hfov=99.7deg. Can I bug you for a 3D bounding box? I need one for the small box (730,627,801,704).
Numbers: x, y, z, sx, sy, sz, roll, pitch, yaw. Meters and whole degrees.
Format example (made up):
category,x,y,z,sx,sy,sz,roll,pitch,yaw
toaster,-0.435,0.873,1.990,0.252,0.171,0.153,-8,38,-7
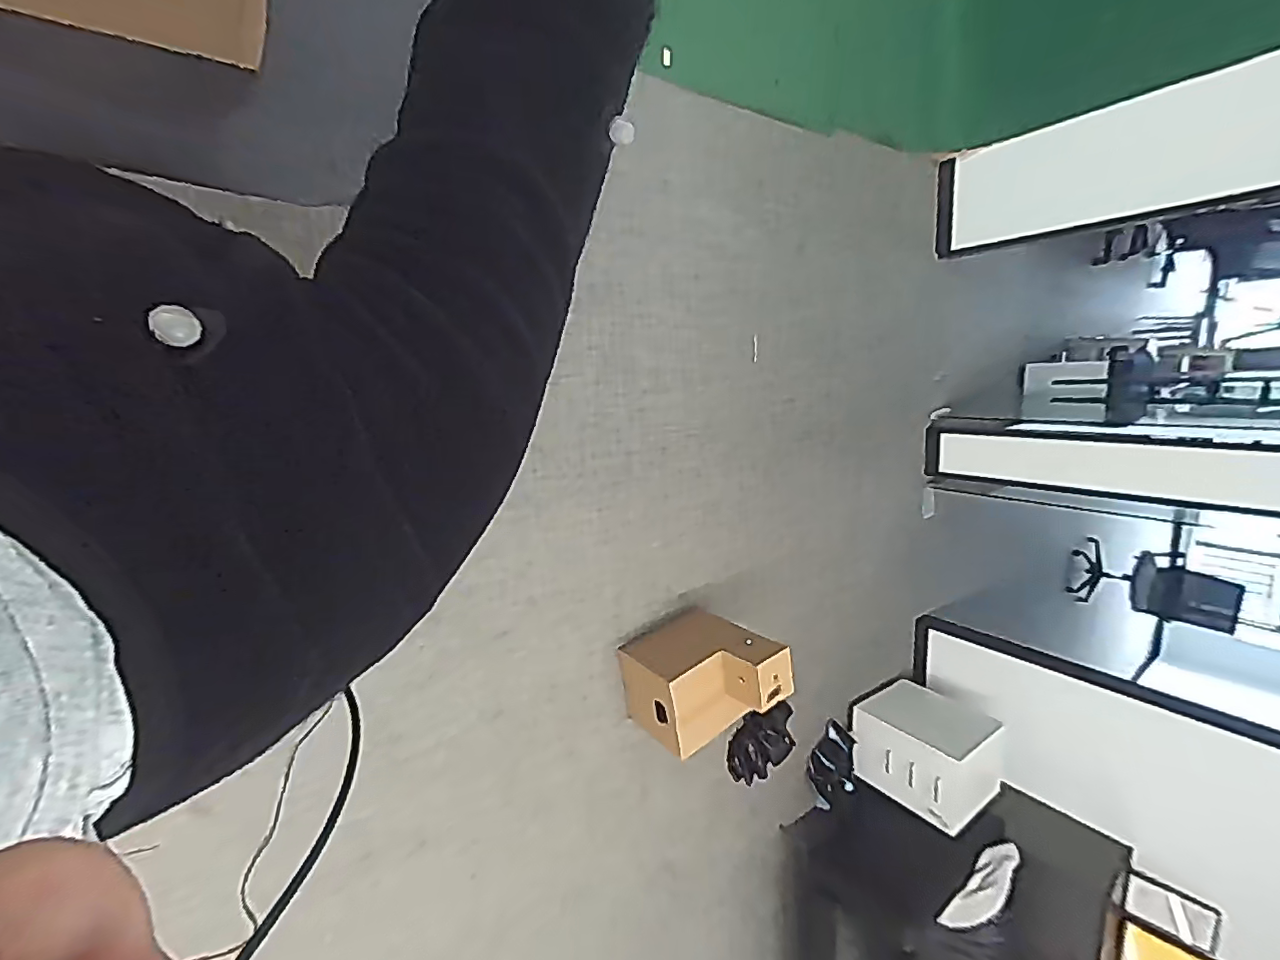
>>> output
category,x,y,z,sx,sy,sz,roll,pitch,yaw
small box,0.435,0.639,1.885,0.168,0.176,0.179,-17,102,-35
